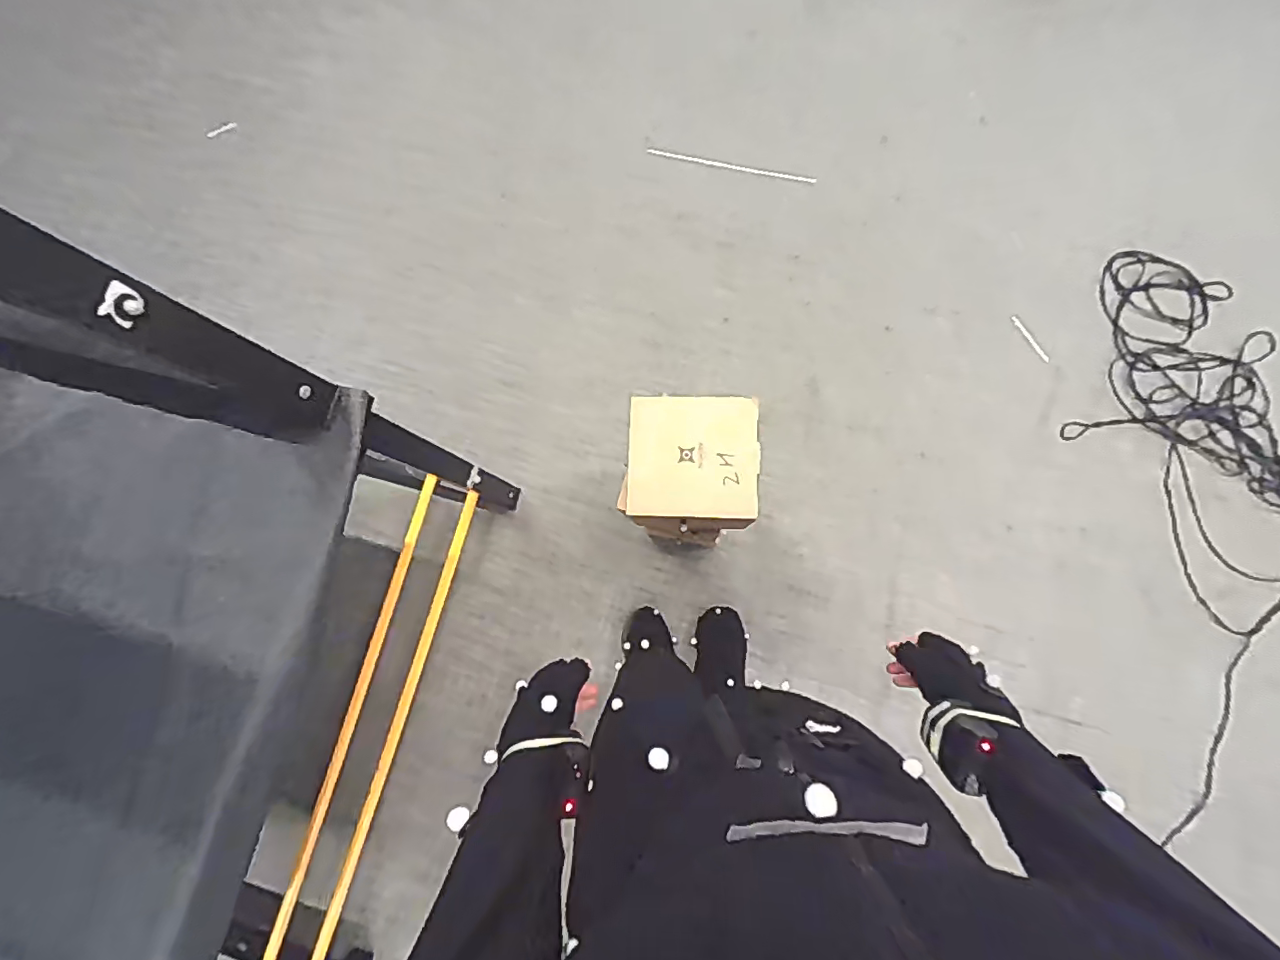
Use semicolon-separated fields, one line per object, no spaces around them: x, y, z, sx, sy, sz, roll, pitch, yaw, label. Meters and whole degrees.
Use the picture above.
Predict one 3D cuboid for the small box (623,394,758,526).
0.075;-0.021;0.793;0.179;0.176;0.168;2;82;5;small box
